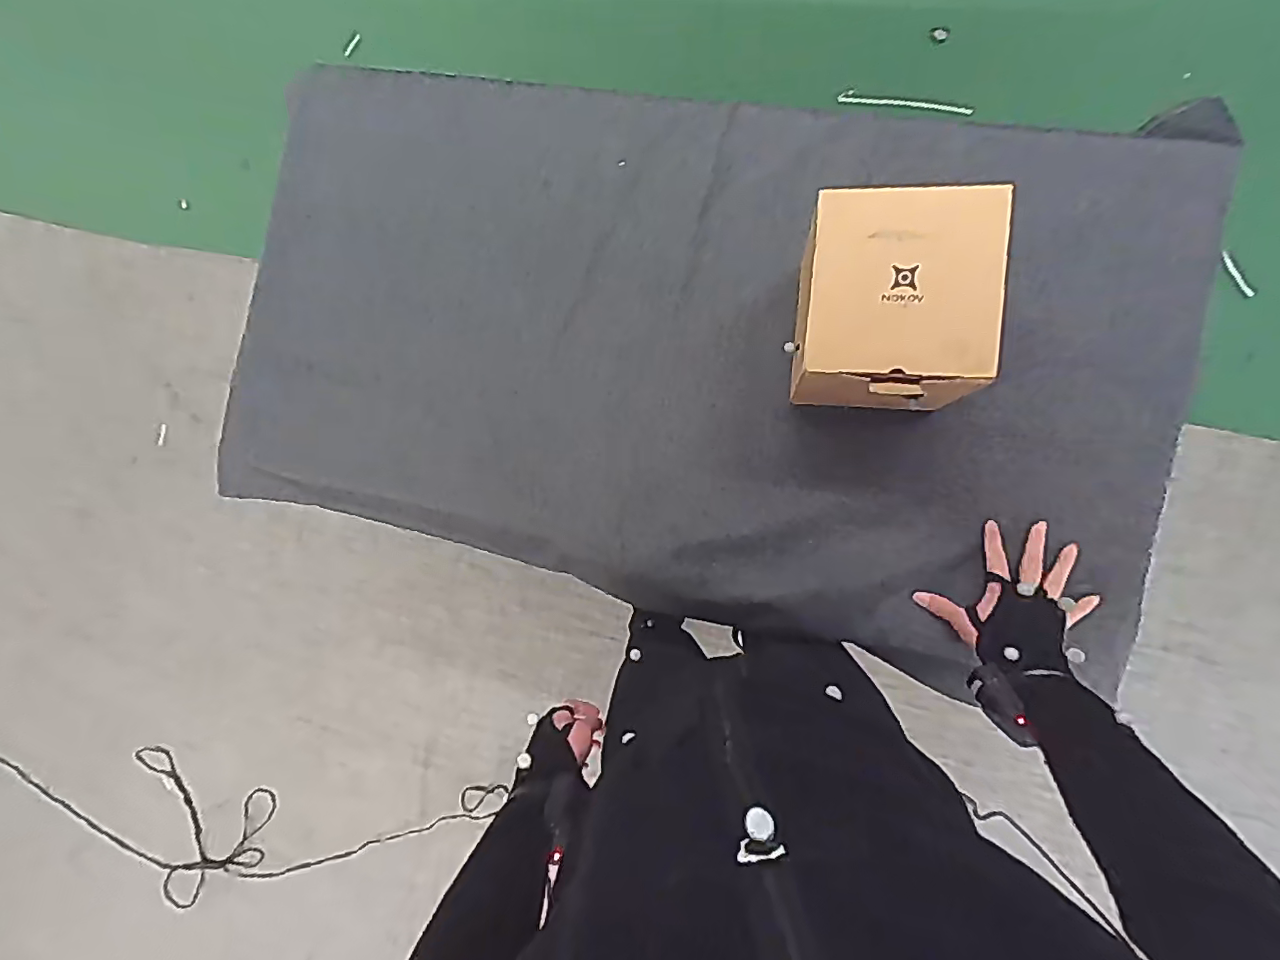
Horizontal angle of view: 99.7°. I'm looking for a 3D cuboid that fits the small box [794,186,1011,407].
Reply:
[{"bbox_3d":[0.258,-0.178,0.572,0.168,0.176,0.179,5,87,11],"label":"small box"}]
